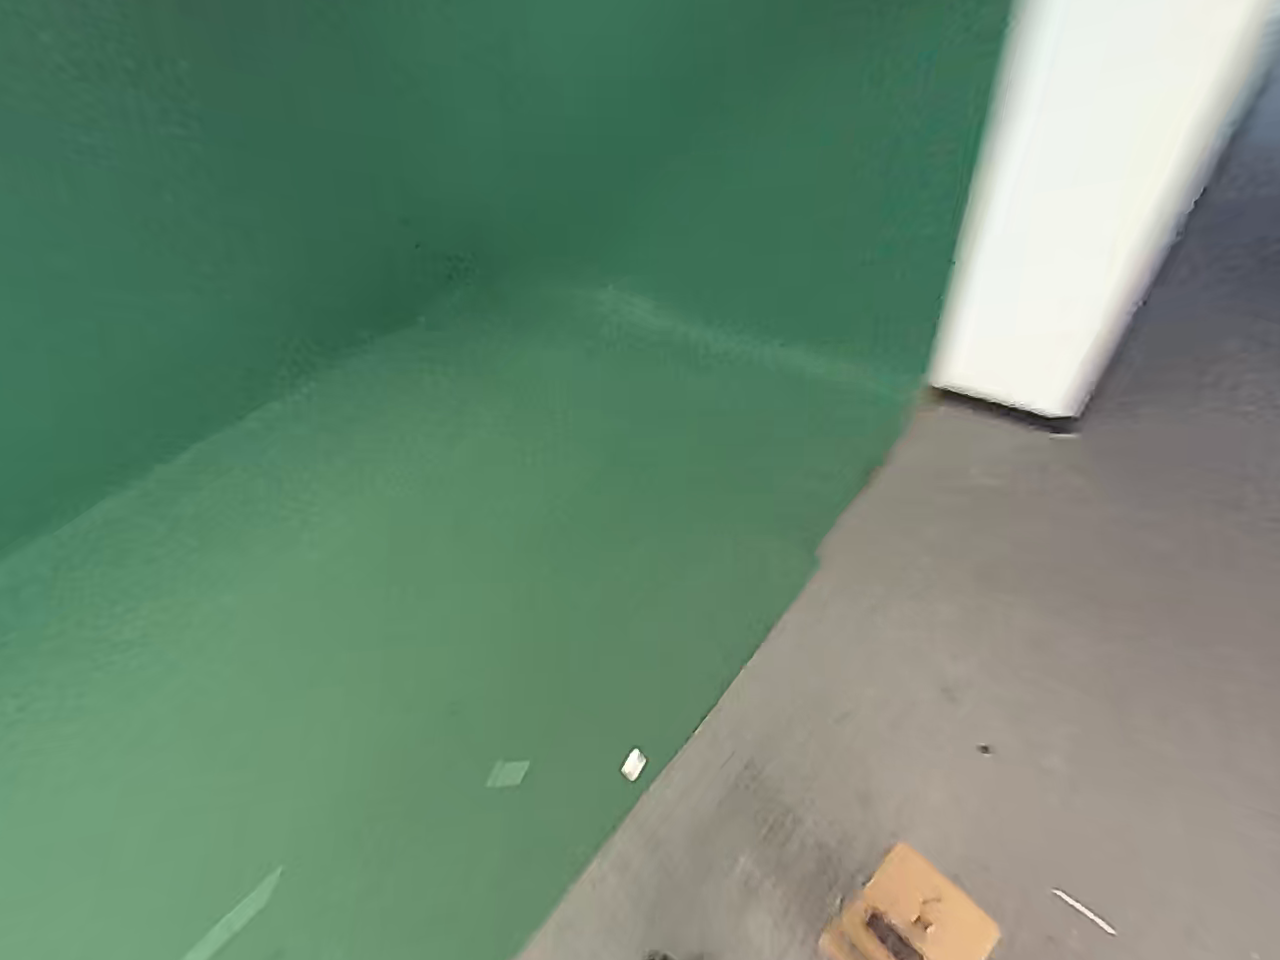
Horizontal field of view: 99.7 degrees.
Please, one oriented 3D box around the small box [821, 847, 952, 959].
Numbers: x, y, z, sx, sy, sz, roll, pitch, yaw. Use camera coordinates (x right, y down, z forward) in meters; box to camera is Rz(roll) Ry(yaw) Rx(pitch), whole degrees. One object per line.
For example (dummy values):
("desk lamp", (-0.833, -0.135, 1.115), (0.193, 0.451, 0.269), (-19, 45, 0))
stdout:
("small box", (0.456, 0.833, 1.031), (0.168, 0.176, 0.179), (-15, 47, 3))
